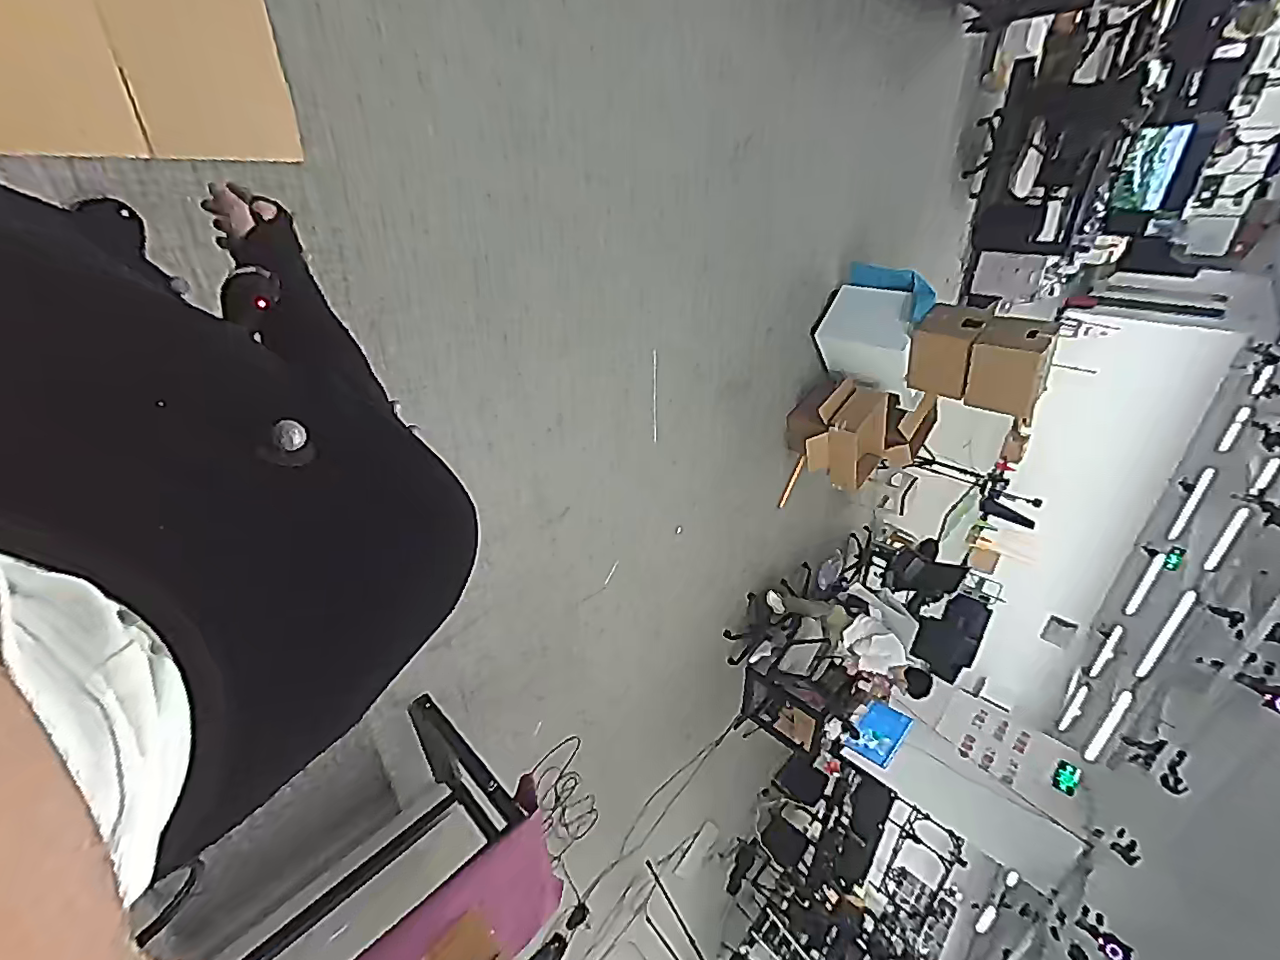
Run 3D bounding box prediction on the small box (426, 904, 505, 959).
[{"bbox_3d":[-0.499,1.406,1.573,0.179,0.176,0.168,-30,130,-37],"label":"small box"}]
